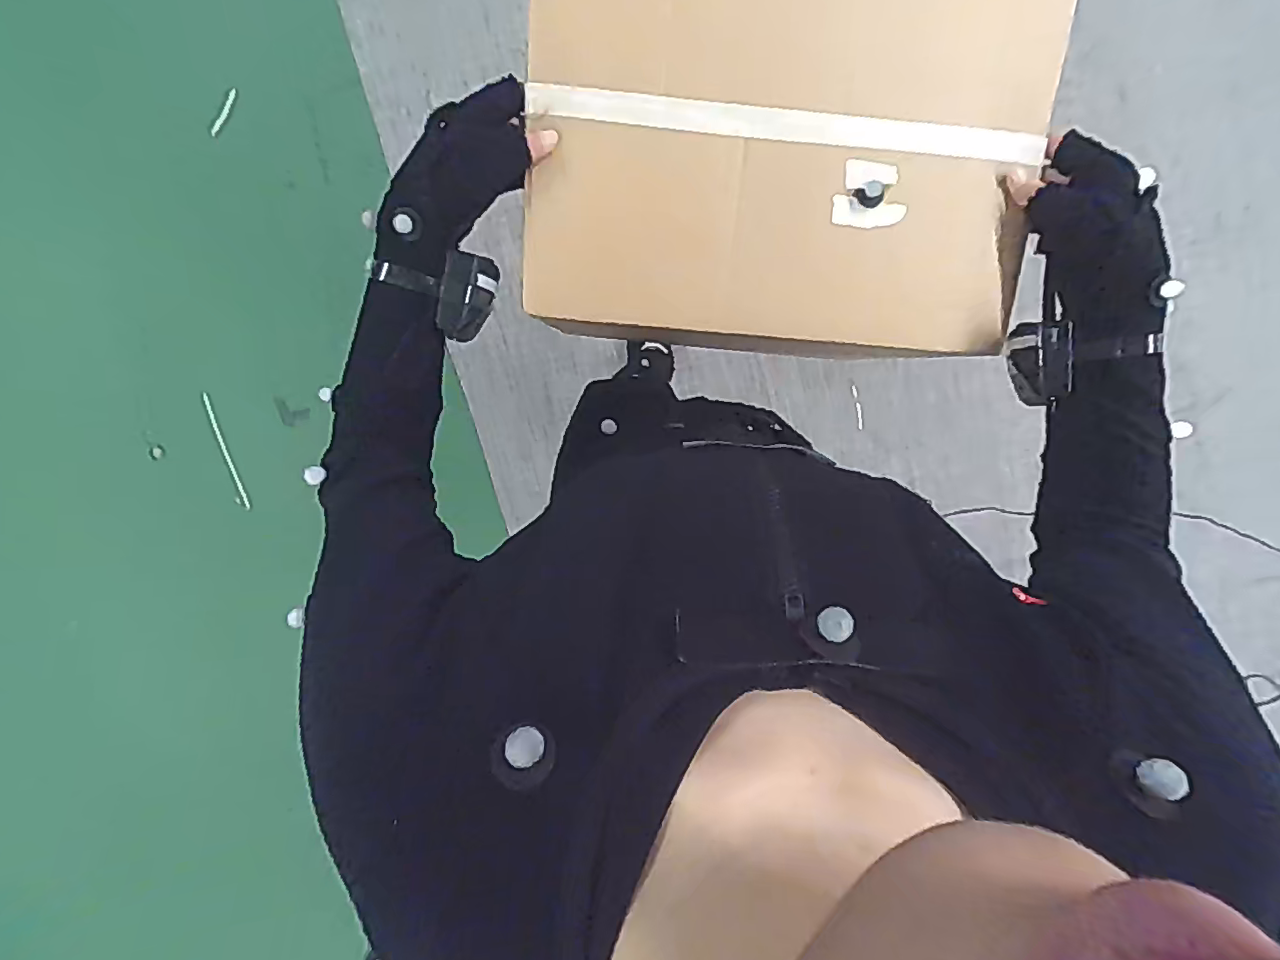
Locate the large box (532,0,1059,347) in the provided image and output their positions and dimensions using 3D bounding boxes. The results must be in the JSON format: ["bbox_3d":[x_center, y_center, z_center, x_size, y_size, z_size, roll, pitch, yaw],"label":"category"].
[{"bbox_3d":[0.108,-0.316,0.568,0.408,0.320,0.320,4,103,-4],"label":"large box"}]
